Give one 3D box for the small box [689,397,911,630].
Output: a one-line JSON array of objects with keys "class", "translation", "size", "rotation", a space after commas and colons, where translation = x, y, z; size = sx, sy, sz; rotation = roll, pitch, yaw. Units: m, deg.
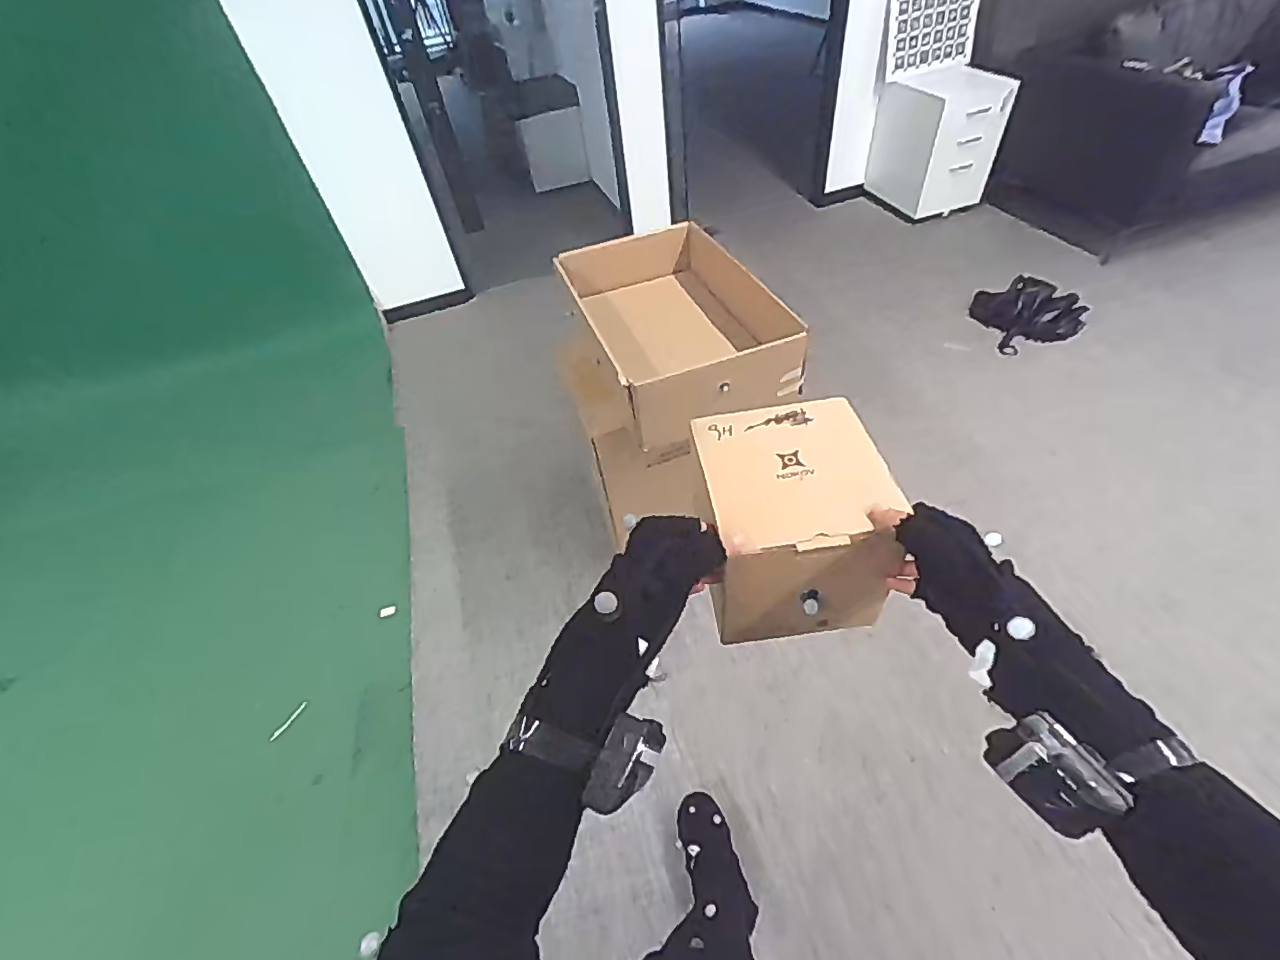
[{"class": "small box", "translation": [0.148, 0.042, 0.564], "size": [0.168, 0.176, 0.179], "rotation": [-8, 47, 0]}]
